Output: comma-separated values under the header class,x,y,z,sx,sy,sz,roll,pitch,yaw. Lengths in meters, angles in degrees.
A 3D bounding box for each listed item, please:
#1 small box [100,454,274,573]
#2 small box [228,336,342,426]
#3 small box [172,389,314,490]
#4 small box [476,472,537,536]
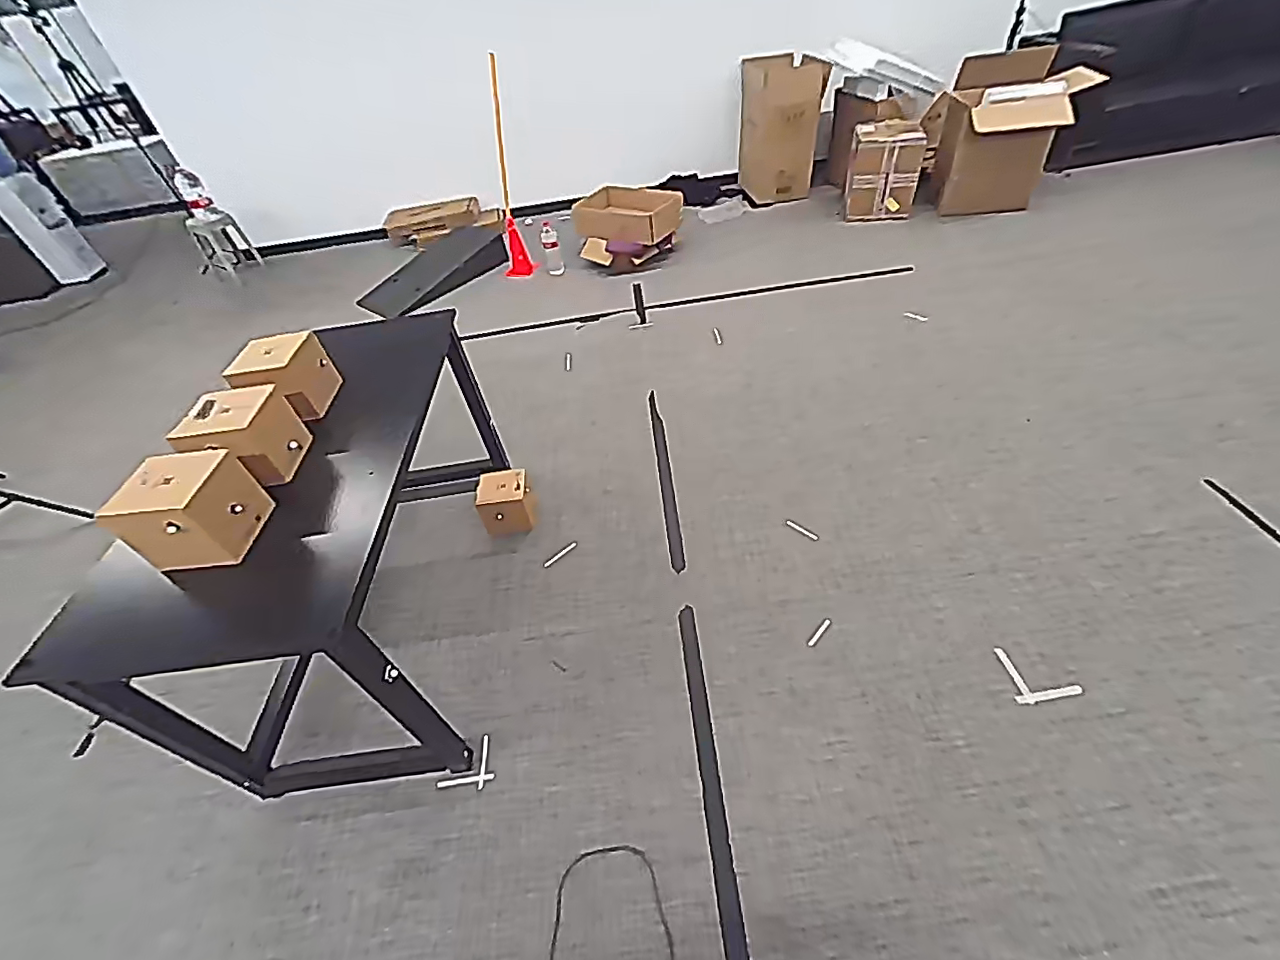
class,x,y,z,sx,sy,sz,roll,pitch,yaw
small box,-0.897,0.070,1.096,0.179,0.176,0.168,-6,44,4
small box,-0.929,-0.256,1.437,0.168,0.176,0.179,-10,44,2
small box,-0.909,-0.086,1.257,0.179,0.176,0.168,-8,44,0
small box,-0.501,0.094,2.051,0.179,0.176,0.168,-9,45,1
